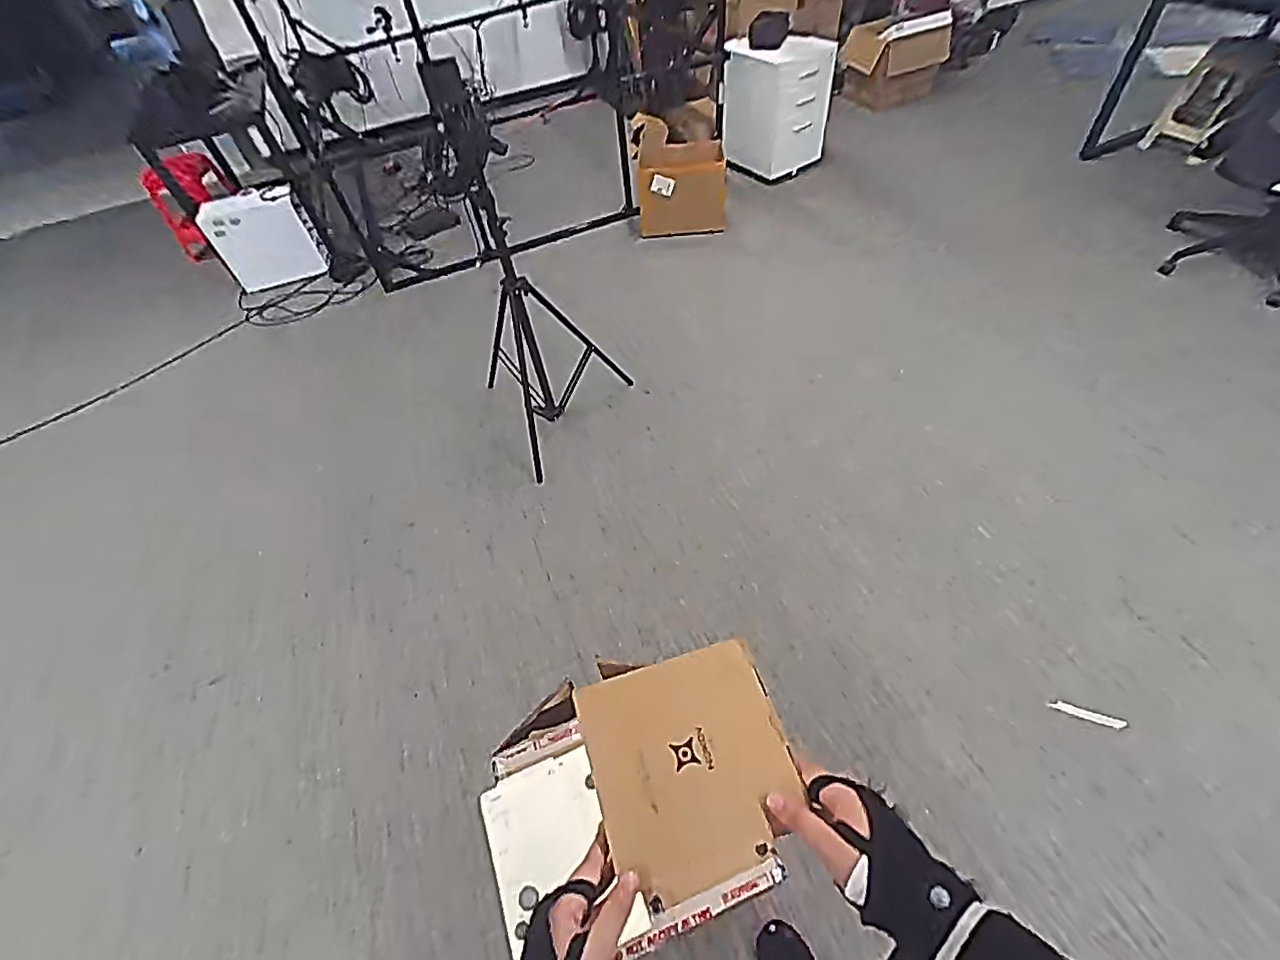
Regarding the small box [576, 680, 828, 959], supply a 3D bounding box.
[{"bbox_3d":[0.048,0.317,0.529,0.179,0.176,0.168,-16,59,-9],"label":"small box"}]
